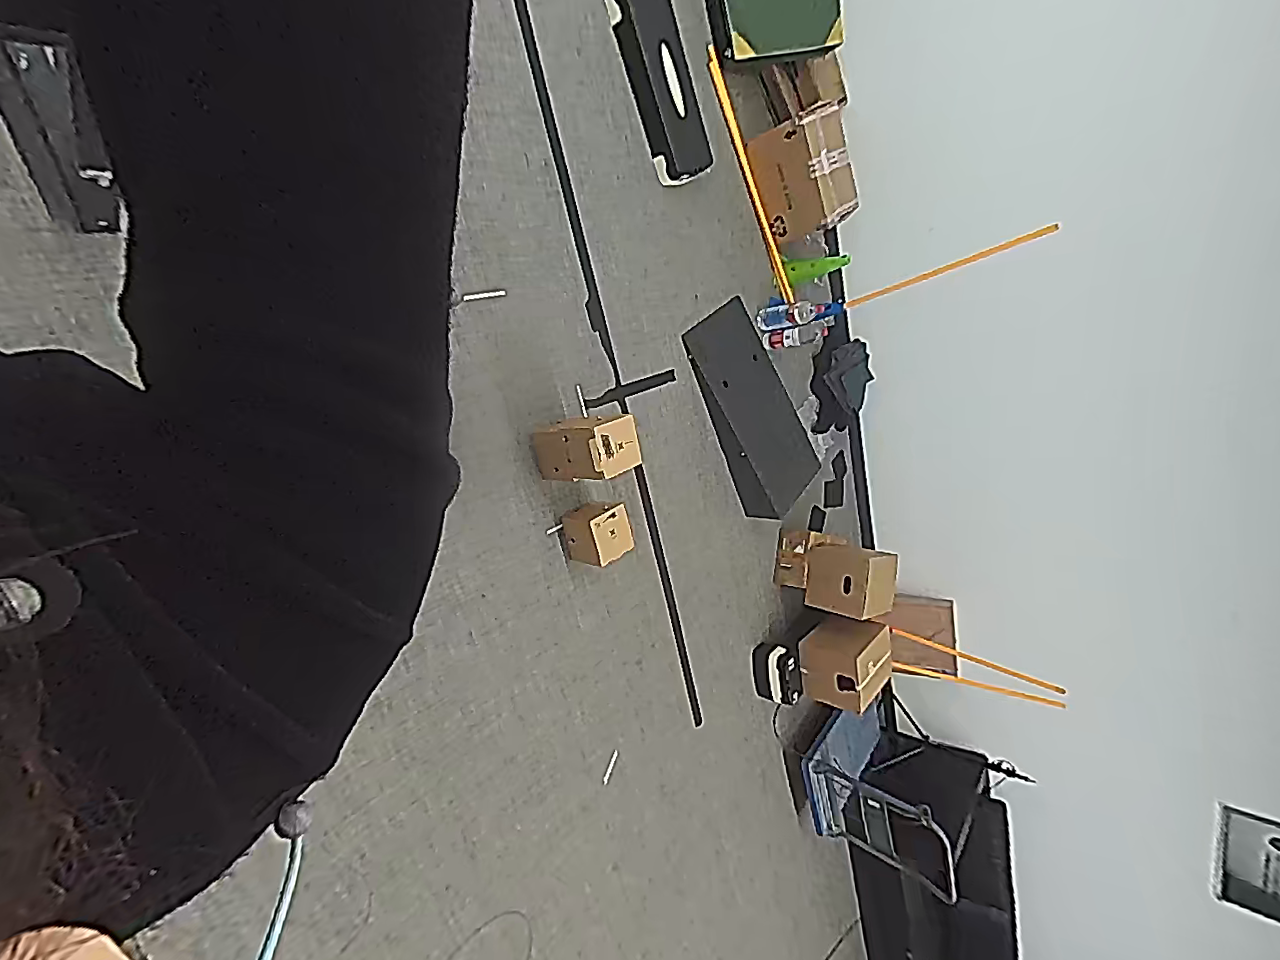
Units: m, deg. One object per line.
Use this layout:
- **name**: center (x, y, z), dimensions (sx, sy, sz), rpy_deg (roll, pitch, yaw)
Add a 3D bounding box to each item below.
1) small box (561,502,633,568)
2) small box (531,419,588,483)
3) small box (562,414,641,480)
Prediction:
- **small box**: center (-0.153, 0.189, 1.922), dimensions (0.168, 0.176, 0.179), rpy_deg (-28, 112, -41)
- **small box**: center (-0.238, -0.103, 1.820), dimensions (0.168, 0.176, 0.179), rpy_deg (-29, 112, -41)
- **small box**: center (-0.126, -0.104, 1.701), dimensions (0.179, 0.176, 0.168), rpy_deg (-26, 111, -43)
